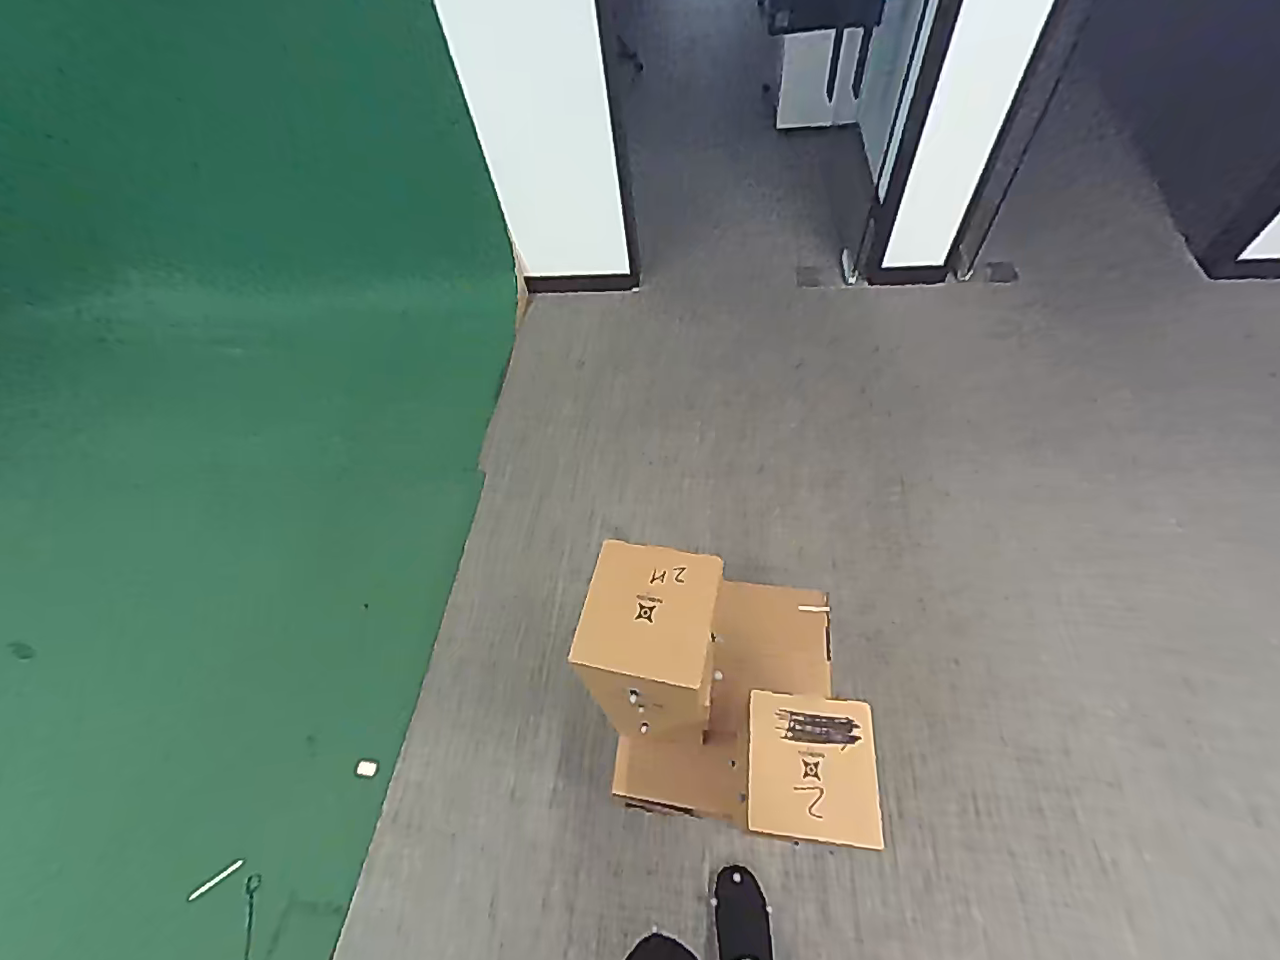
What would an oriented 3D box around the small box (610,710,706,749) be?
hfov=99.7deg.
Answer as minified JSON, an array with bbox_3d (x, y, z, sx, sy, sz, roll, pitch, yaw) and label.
[{"bbox_3d":[0.047,0.391,1.026,0.168,0.176,0.179,3,55,10],"label":"small box"}]

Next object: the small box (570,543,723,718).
[{"bbox_3d":[0.021,0.212,0.750,0.168,0.176,0.179,8,57,12],"label":"small box"}]

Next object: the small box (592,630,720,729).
[{"bbox_3d":[0.036,0.299,0.886,0.179,0.176,0.168,1,55,11],"label":"small box"}]

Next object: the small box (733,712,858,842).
[{"bbox_3d":[0.253,0.508,0.920,0.179,0.176,0.168,2,55,8],"label":"small box"}]
